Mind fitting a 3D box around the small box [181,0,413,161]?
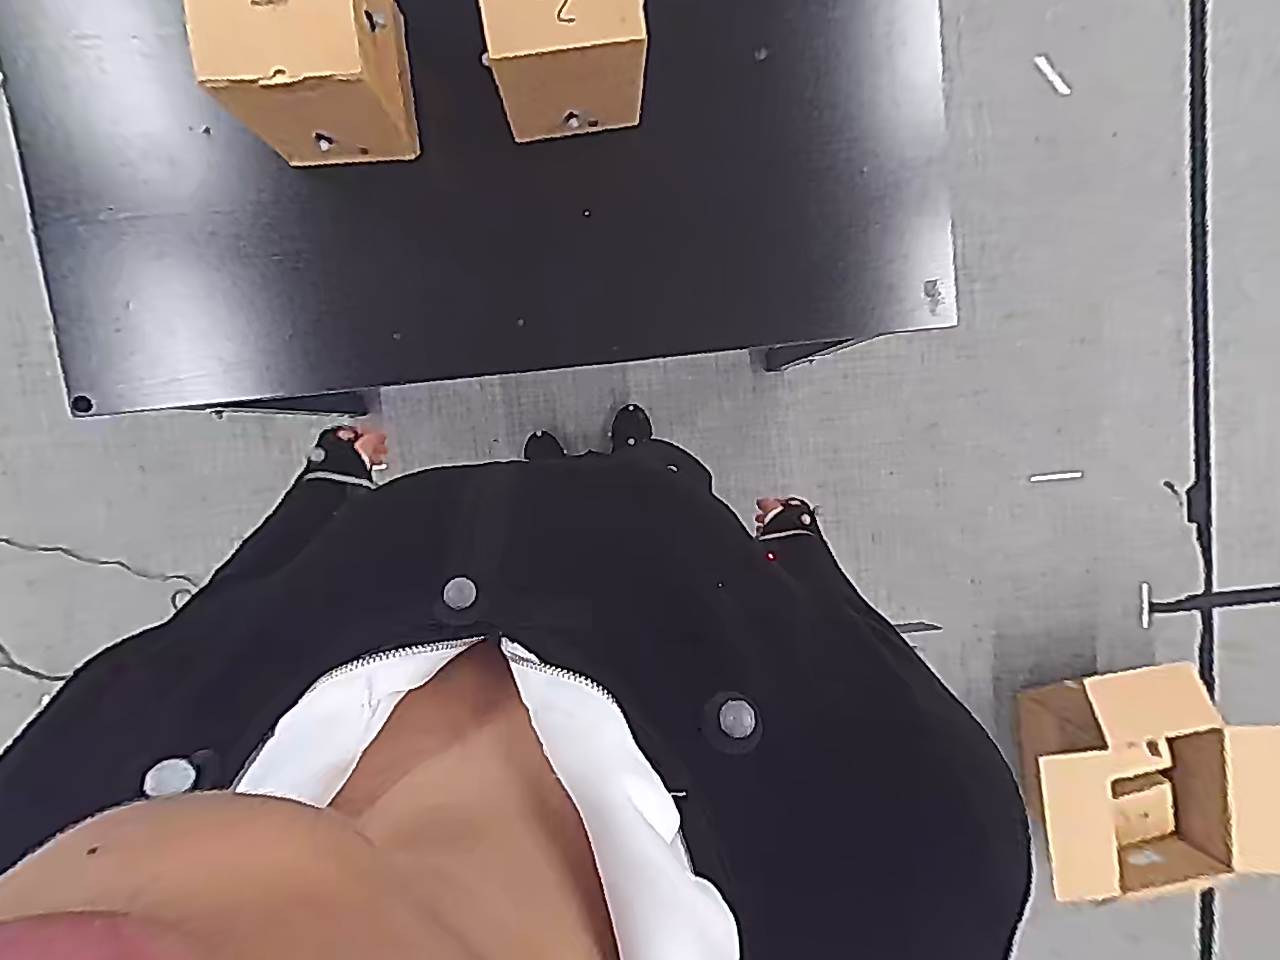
[{"bbox_3d":[-0.377,-0.499,0.616,0.168,0.176,0.179,-5,96,-3],"label":"small box"}]
